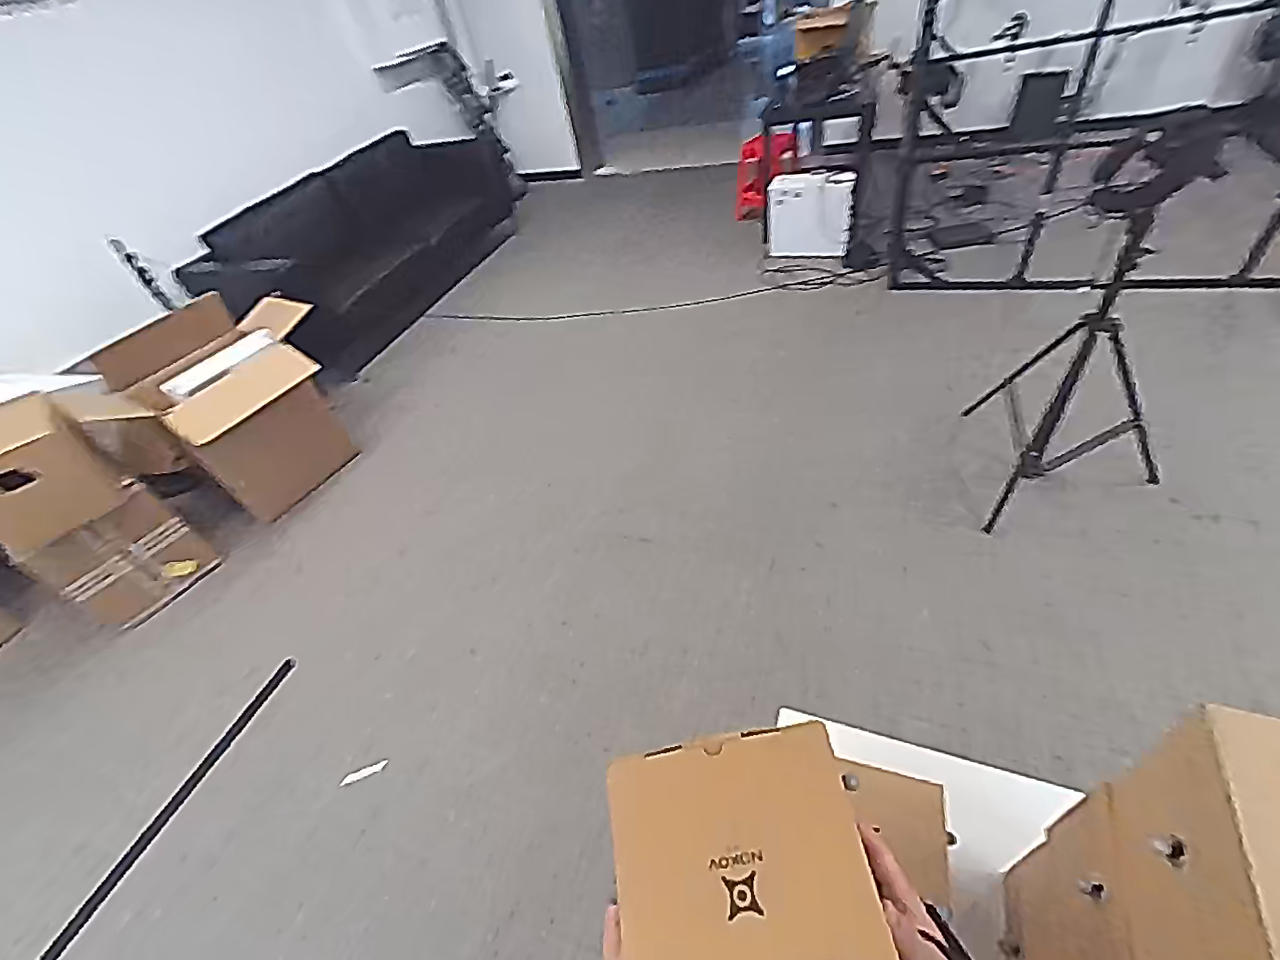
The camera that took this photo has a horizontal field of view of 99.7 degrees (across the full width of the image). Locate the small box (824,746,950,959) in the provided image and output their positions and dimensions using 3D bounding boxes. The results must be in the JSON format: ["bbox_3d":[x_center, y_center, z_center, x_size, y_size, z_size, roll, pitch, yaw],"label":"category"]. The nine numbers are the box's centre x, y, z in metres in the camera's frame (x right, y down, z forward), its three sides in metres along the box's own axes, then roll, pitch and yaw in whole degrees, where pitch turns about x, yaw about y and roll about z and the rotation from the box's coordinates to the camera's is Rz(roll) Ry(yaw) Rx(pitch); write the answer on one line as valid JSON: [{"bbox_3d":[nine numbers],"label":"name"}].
[{"bbox_3d":[0.271,0.464,0.670,0.168,0.176,0.179,7,48,20],"label":"small box"}]

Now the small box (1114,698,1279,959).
[{"bbox_3d":[0.442,0.279,0.341,0.168,0.176,0.179,9,46,25],"label":"small box"}]

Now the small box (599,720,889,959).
[{"bbox_3d":[0.076,0.304,0.410,0.168,0.176,0.179,-14,53,4],"label":"small box"}]

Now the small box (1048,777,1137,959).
[{"bbox_3d":[0.471,0.394,0.456,0.168,0.176,0.179,8,48,24],"label":"small box"}]
